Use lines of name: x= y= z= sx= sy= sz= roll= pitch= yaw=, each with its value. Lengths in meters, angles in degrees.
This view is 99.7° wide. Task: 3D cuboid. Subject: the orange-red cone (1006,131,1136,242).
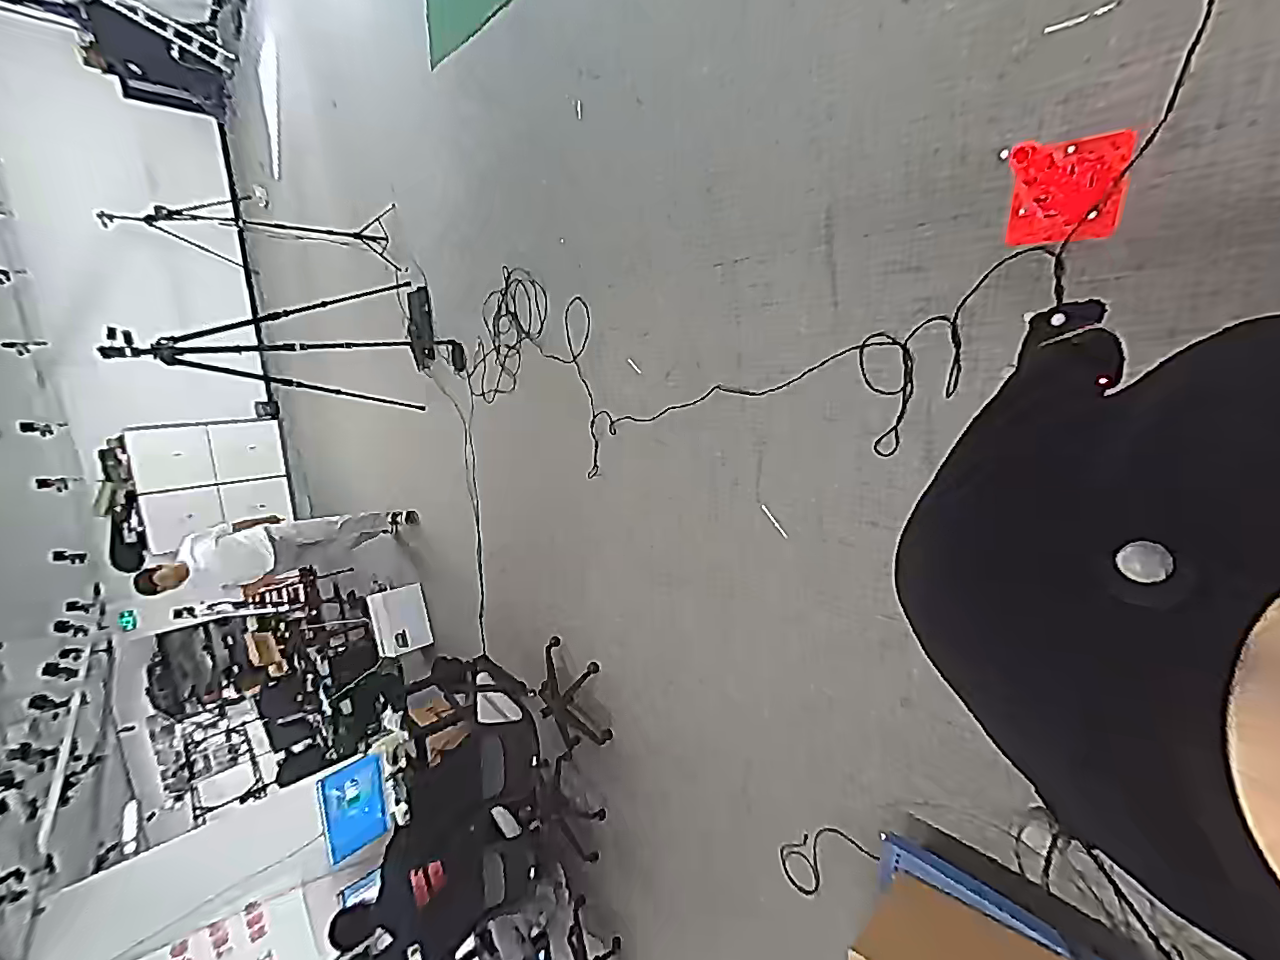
orange-red cone: x=0.788 y=-0.594 z=1.042 sx=0.198 sy=0.360 sz=0.199 roll=17 pitch=110 yaw=44
